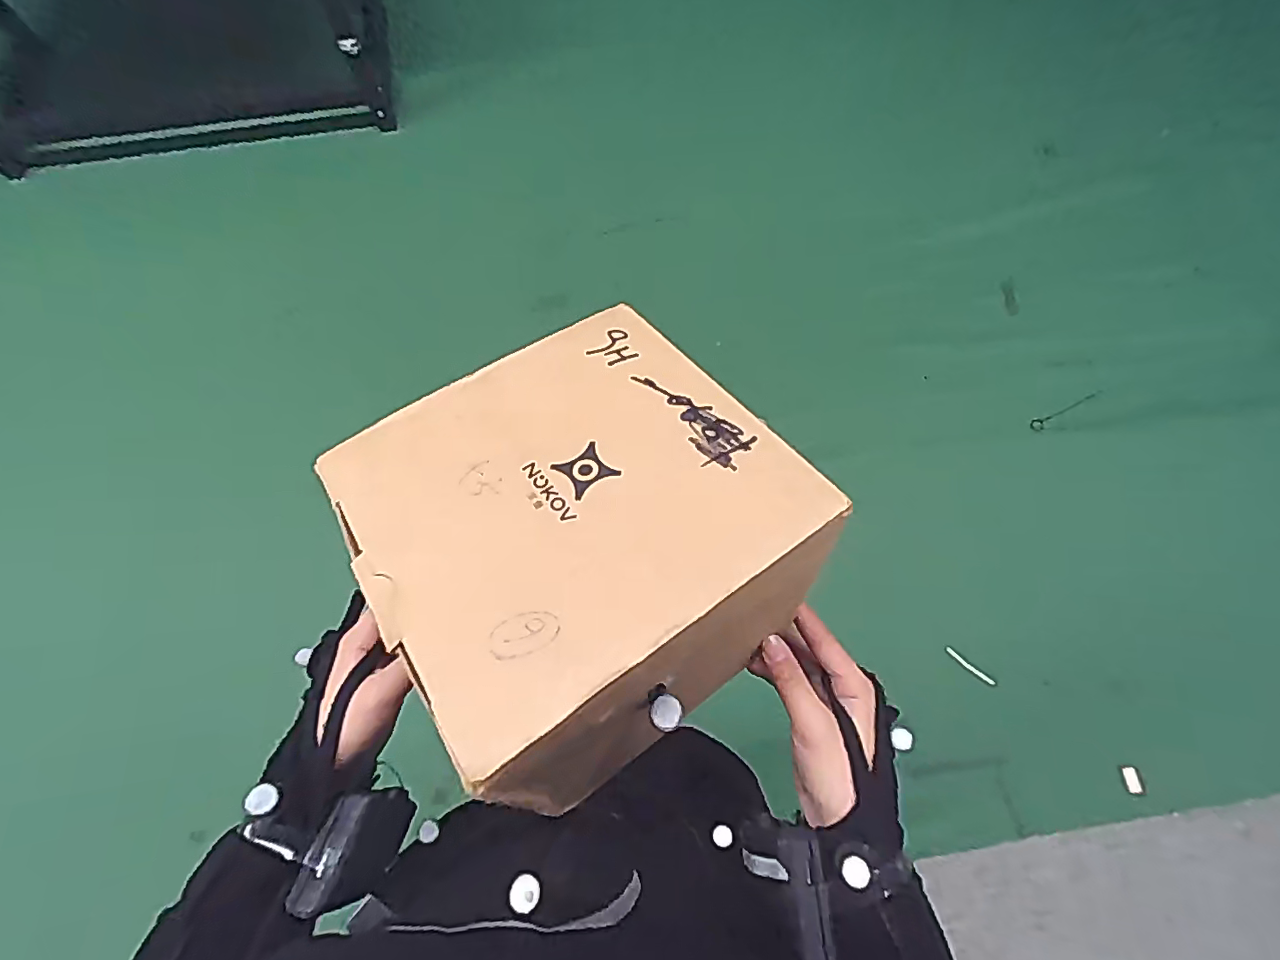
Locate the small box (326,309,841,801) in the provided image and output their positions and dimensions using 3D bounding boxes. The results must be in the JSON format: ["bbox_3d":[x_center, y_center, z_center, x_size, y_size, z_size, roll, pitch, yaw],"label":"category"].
[{"bbox_3d":[-0.025,0.046,0.300,0.179,0.176,0.168,-32,59,-17],"label":"small box"}]
